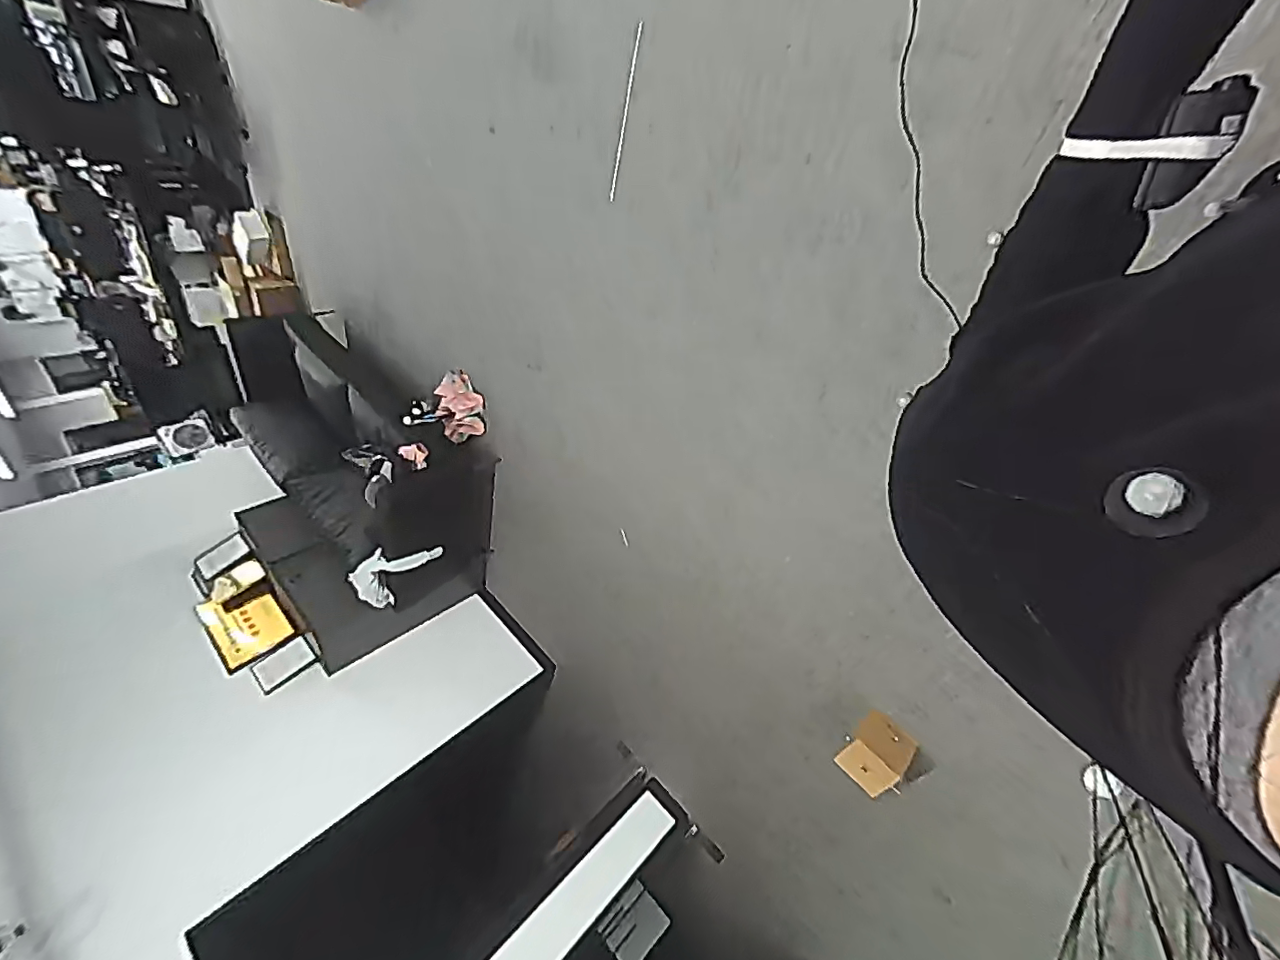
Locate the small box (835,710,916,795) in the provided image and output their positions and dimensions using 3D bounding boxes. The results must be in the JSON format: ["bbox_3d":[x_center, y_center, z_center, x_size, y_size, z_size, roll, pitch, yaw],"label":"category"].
[{"bbox_3d":[0.819,0.939,1.870,0.168,0.176,0.179,41,134,24],"label":"small box"}]
